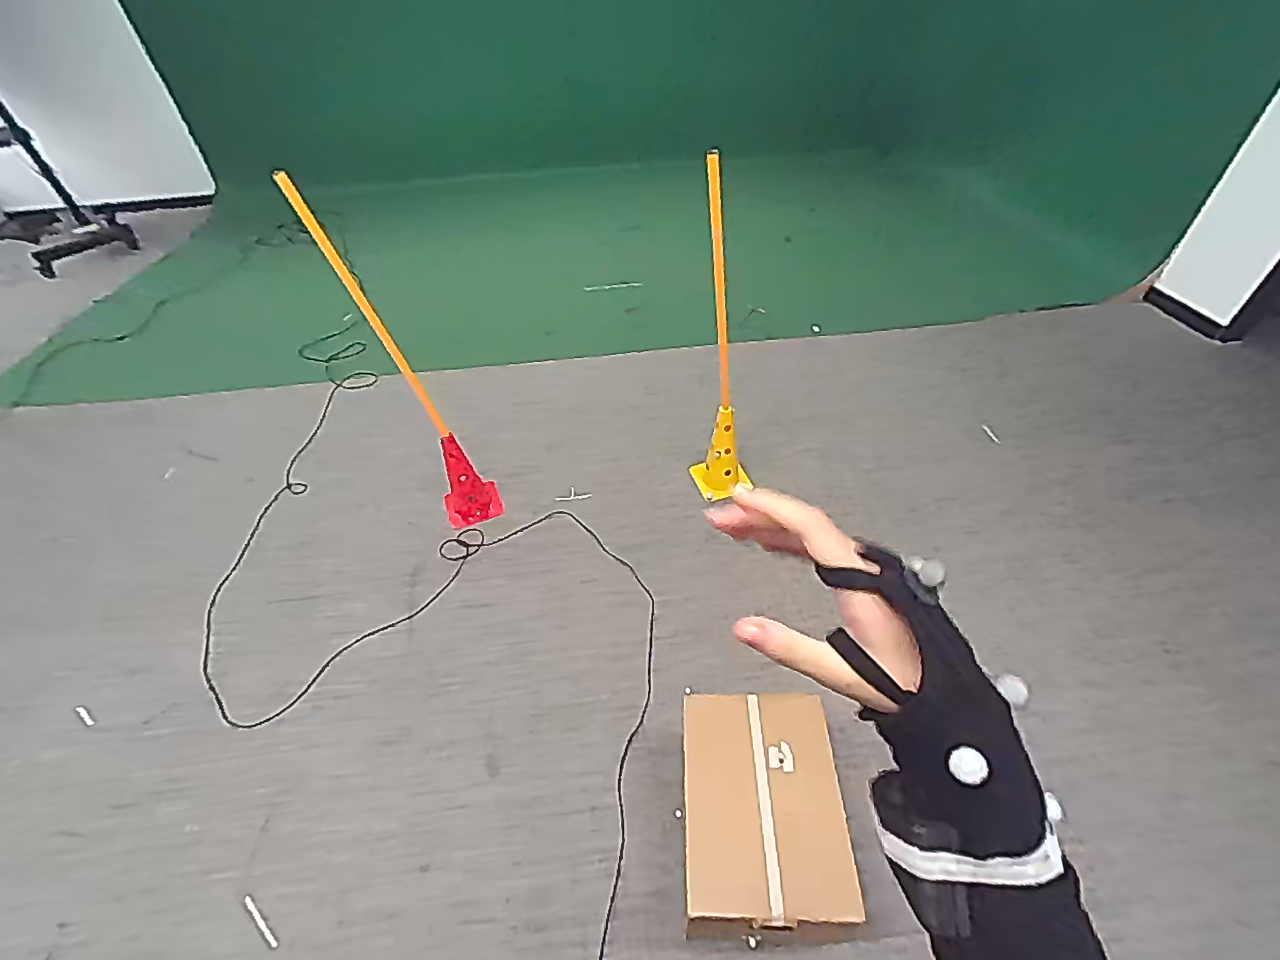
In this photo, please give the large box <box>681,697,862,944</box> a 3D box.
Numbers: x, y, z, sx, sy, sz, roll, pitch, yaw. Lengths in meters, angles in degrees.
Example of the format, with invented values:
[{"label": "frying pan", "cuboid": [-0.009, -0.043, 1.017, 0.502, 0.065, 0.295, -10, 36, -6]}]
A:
[{"label": "large box", "cuboid": [0.252, 0.742, 1.191, 0.320, 0.320, 0.408, 0, 43, 3]}]
